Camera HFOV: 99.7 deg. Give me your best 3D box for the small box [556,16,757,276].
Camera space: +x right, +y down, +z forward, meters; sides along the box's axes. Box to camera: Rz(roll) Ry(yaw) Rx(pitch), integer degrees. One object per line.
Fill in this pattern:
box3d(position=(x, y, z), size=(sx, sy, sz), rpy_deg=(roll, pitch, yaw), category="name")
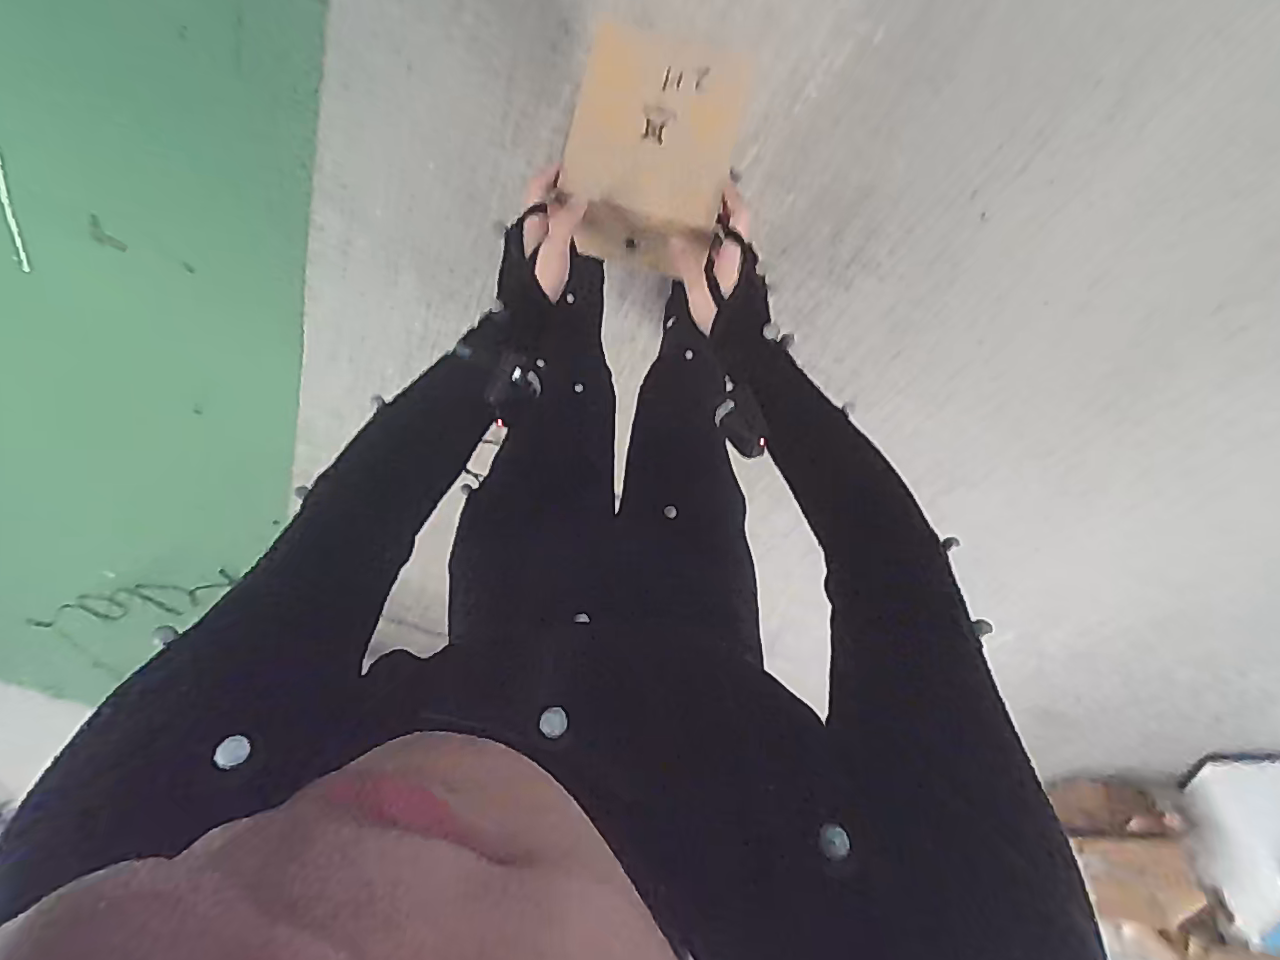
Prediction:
box3d(position=(0.018, -0.355, 0.612), size=(0.168, 0.176, 0.179), rpy_deg=(15, 92, 1), category="small box")
